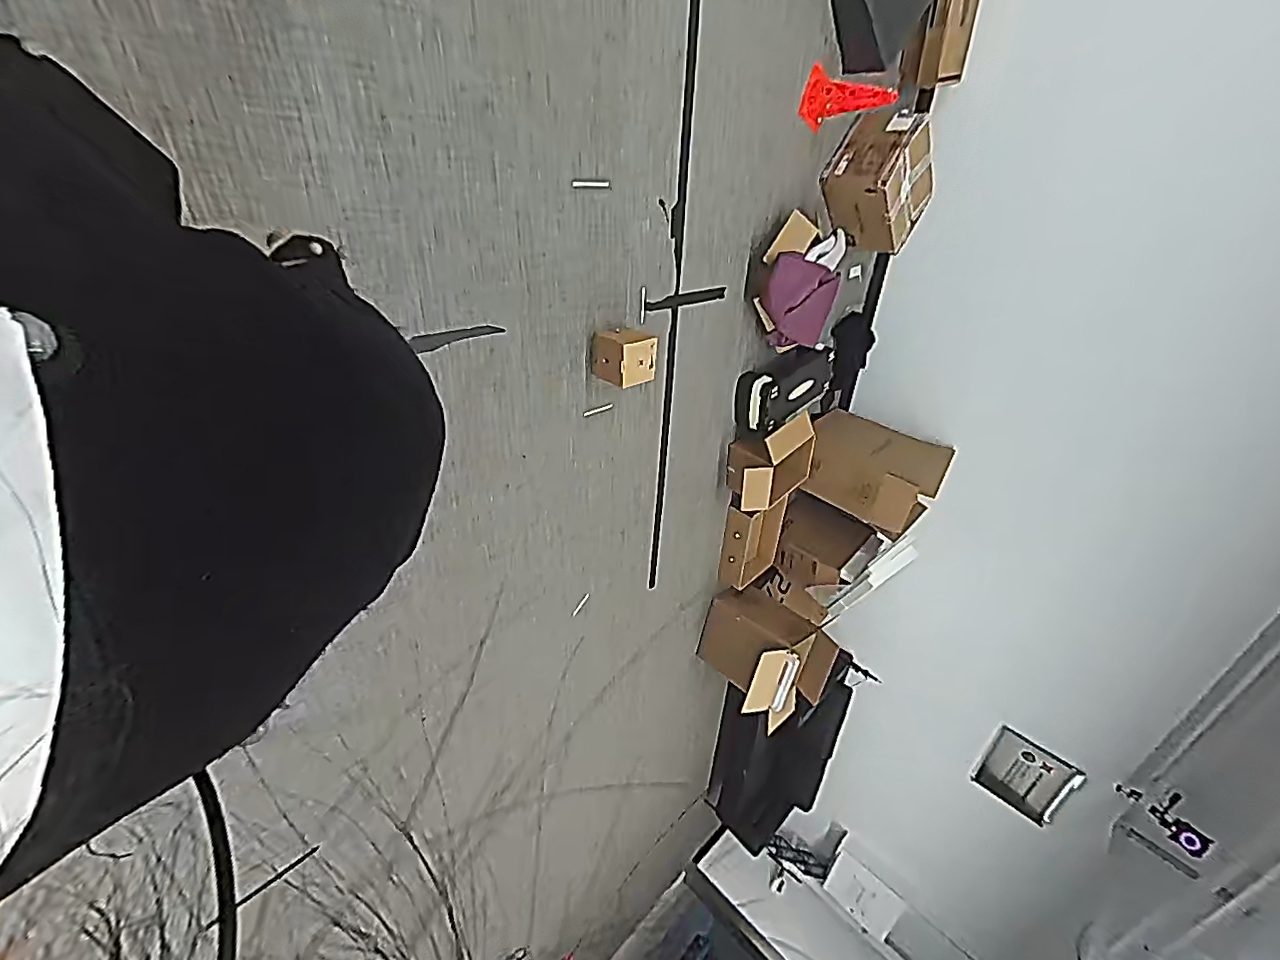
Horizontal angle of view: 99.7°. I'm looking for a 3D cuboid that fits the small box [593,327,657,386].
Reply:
[{"bbox_3d":[-0.061,-0.470,2.035,0.179,0.176,0.168,-23,131,-39],"label":"small box"}]
